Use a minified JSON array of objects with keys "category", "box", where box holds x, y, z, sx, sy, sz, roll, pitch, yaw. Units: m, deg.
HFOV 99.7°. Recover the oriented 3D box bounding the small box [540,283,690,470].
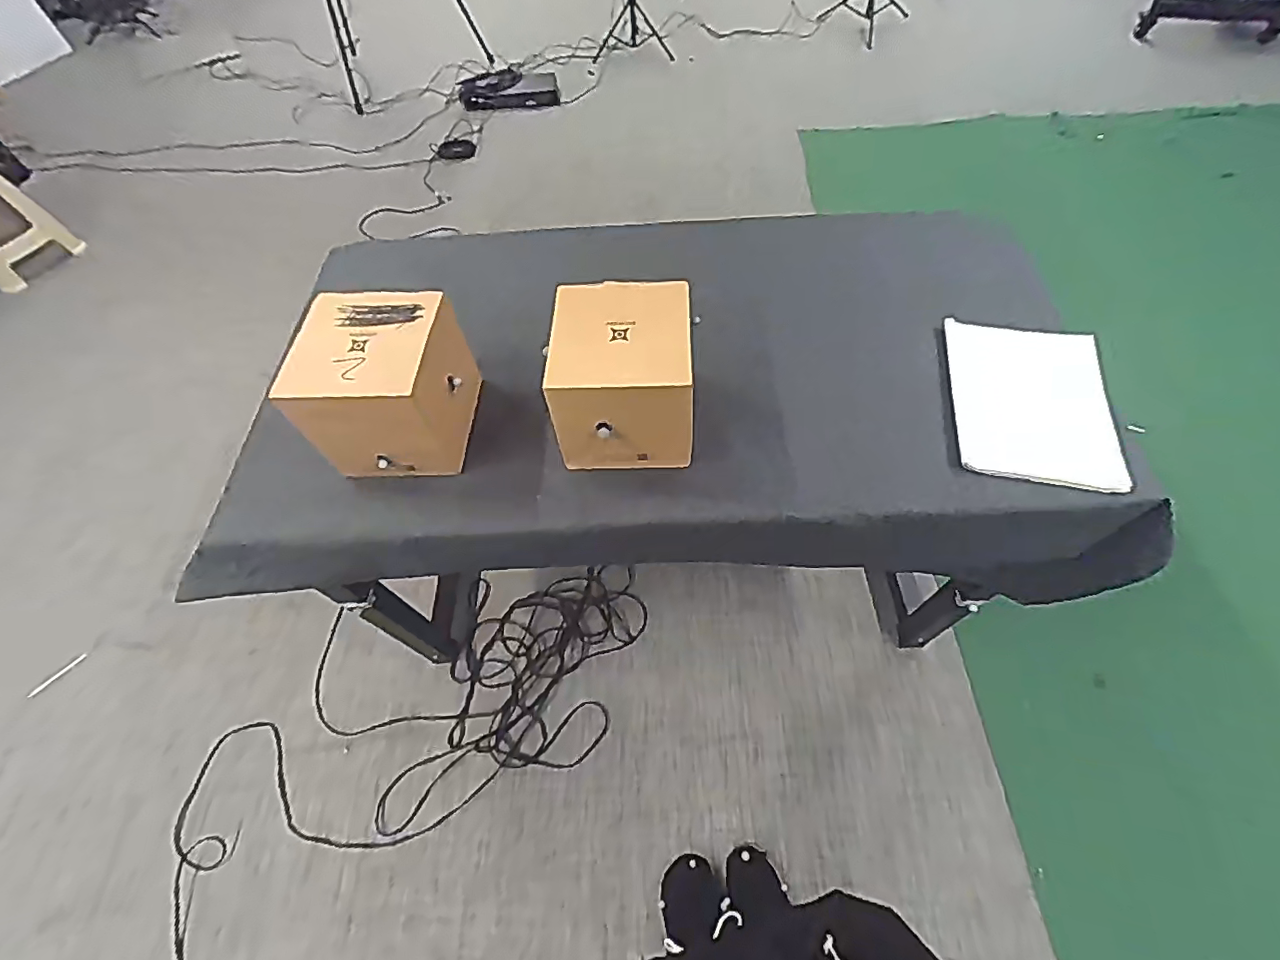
[{"category":"small box","box":[-0.020,-0.123,0.690,0.168,0.176,0.179,-1,57,3]}]
